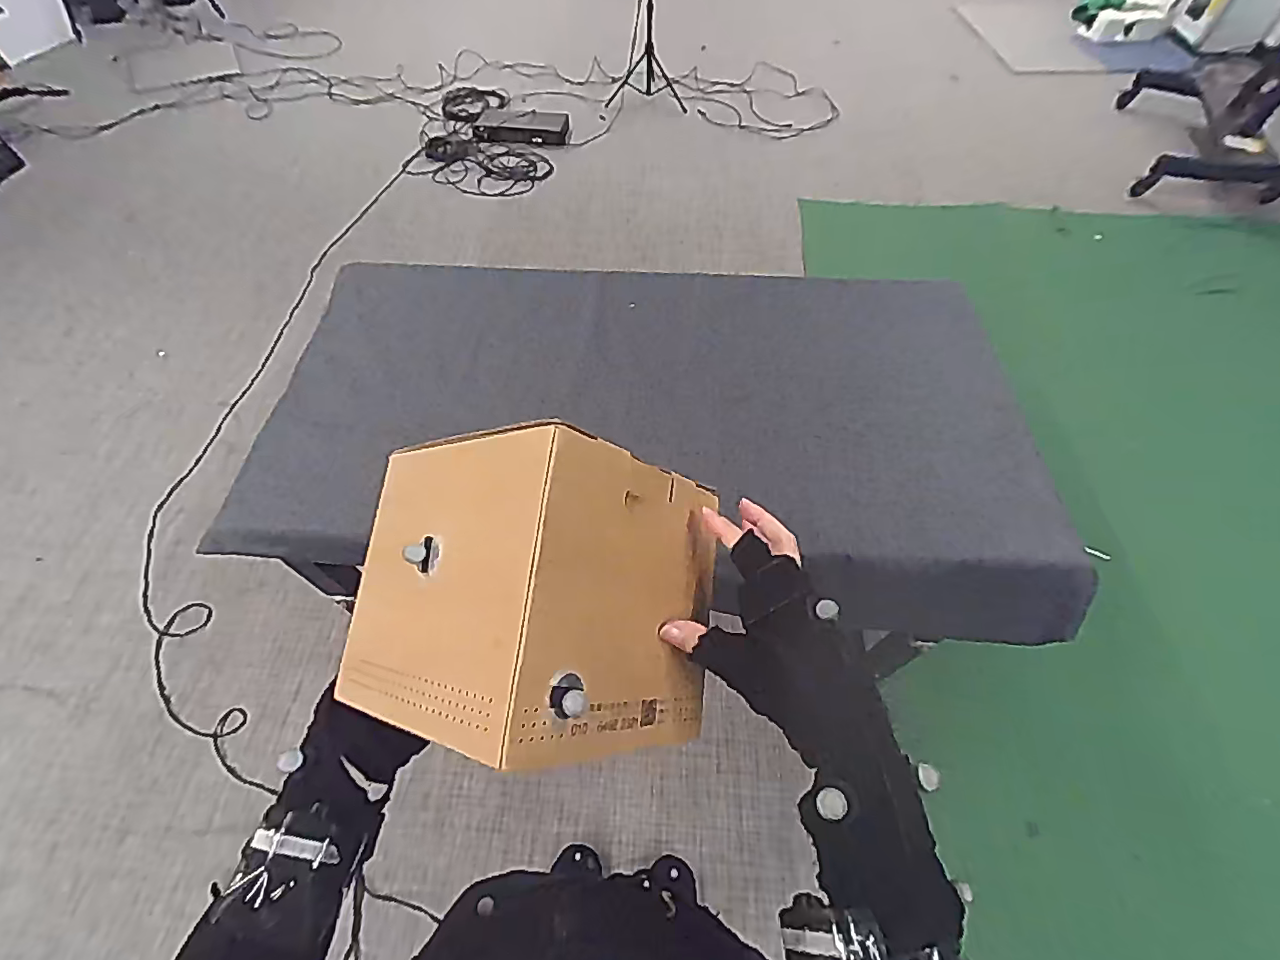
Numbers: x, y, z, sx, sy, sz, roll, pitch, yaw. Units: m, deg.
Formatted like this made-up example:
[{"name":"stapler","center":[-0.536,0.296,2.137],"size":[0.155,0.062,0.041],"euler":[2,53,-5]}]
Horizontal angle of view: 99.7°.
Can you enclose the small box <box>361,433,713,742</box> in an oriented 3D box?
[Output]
[{"name":"small box","center":[-0.067,0.080,0.385],"size":[0.179,0.168,0.176],"euler":[-7,70,39]}]
